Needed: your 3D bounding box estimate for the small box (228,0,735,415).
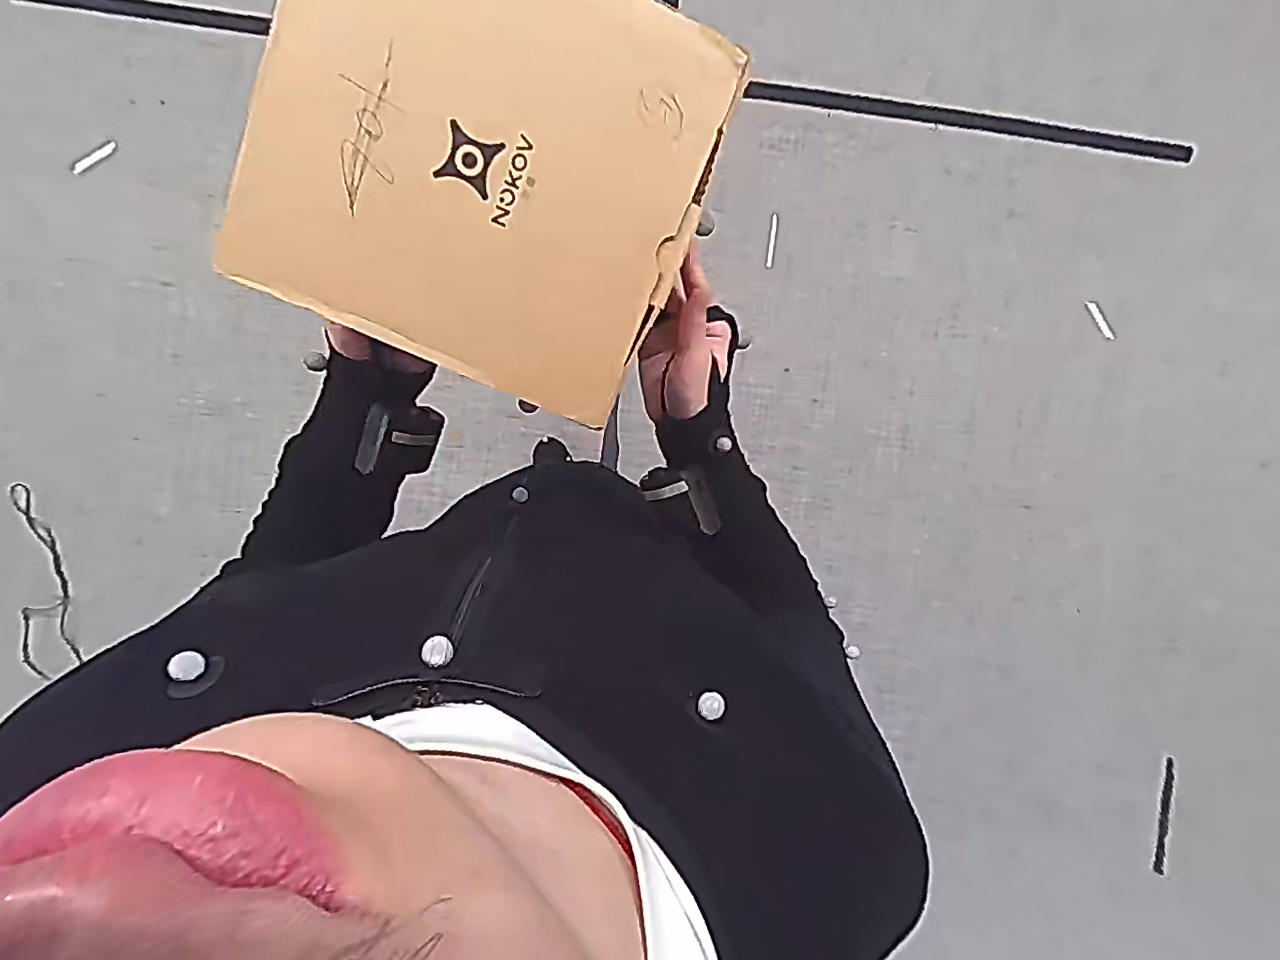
[{"bbox_3d":[-0.073,-0.152,0.310,0.179,0.176,0.168,22,99,-7],"label":"small box"}]
